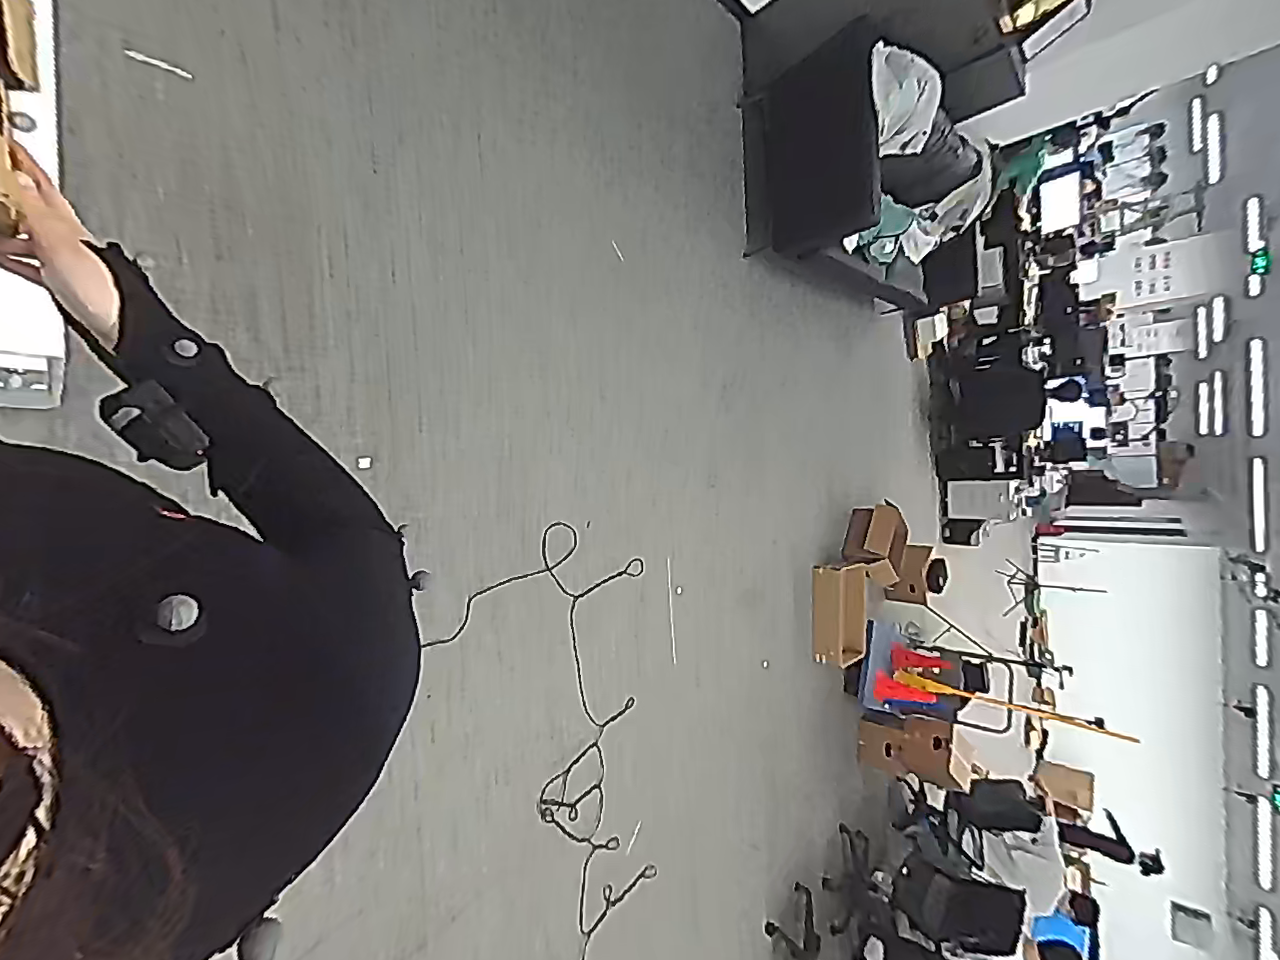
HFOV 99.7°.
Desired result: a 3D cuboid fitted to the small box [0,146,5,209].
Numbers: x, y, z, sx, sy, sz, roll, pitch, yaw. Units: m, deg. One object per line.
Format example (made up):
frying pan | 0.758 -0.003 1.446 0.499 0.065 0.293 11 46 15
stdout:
small box | -0.455 -0.243 0.265 0.179 0.176 0.168 -6 105 -49
